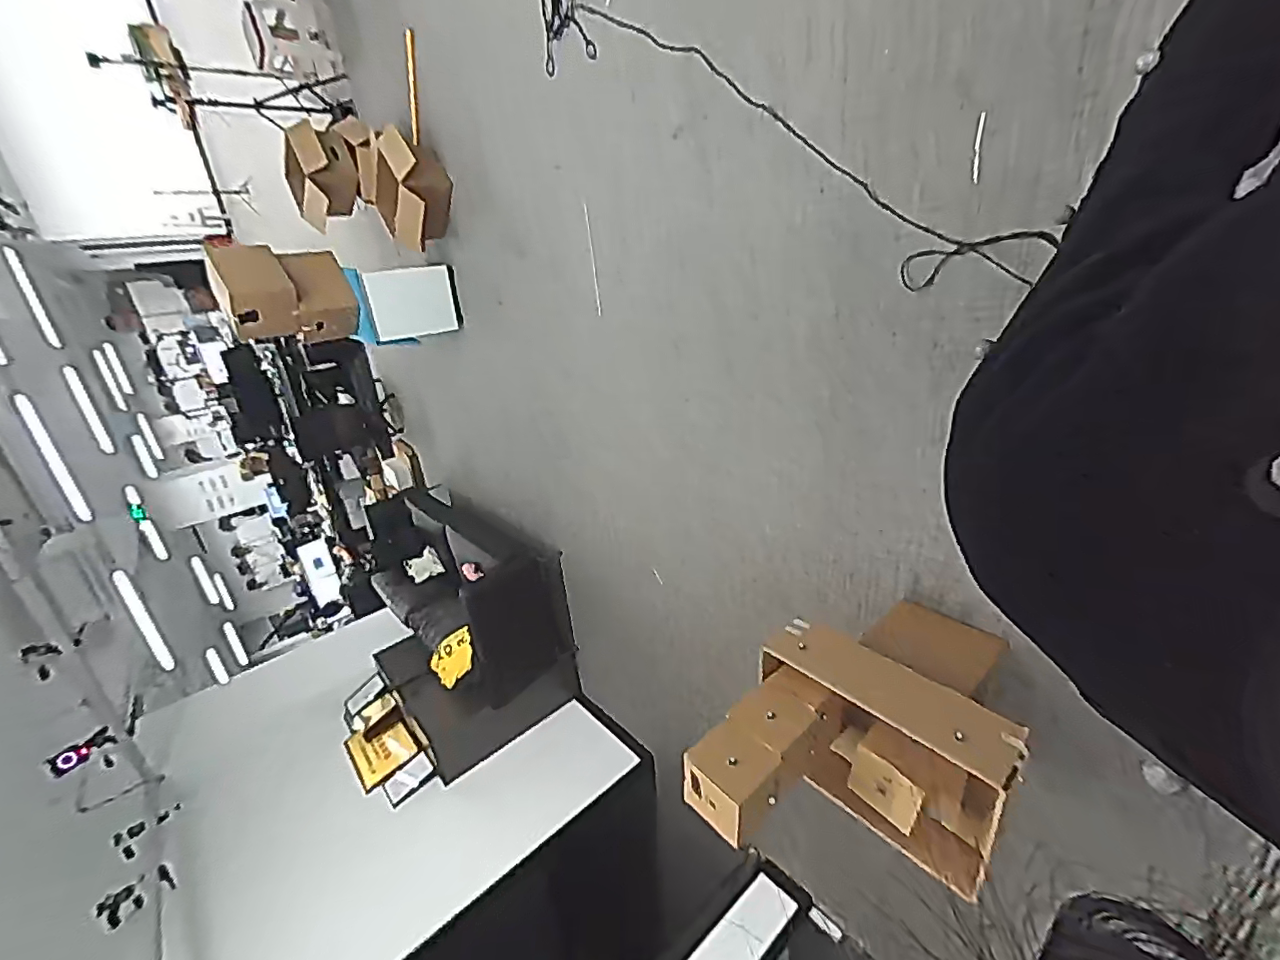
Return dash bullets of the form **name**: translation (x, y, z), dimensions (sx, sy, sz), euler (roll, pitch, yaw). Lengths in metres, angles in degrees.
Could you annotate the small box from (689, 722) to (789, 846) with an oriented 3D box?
- **small box**: translation (0.240, 0.734, 1.332), dimensions (0.179, 0.176, 0.168), euler (25, 127, 44)
